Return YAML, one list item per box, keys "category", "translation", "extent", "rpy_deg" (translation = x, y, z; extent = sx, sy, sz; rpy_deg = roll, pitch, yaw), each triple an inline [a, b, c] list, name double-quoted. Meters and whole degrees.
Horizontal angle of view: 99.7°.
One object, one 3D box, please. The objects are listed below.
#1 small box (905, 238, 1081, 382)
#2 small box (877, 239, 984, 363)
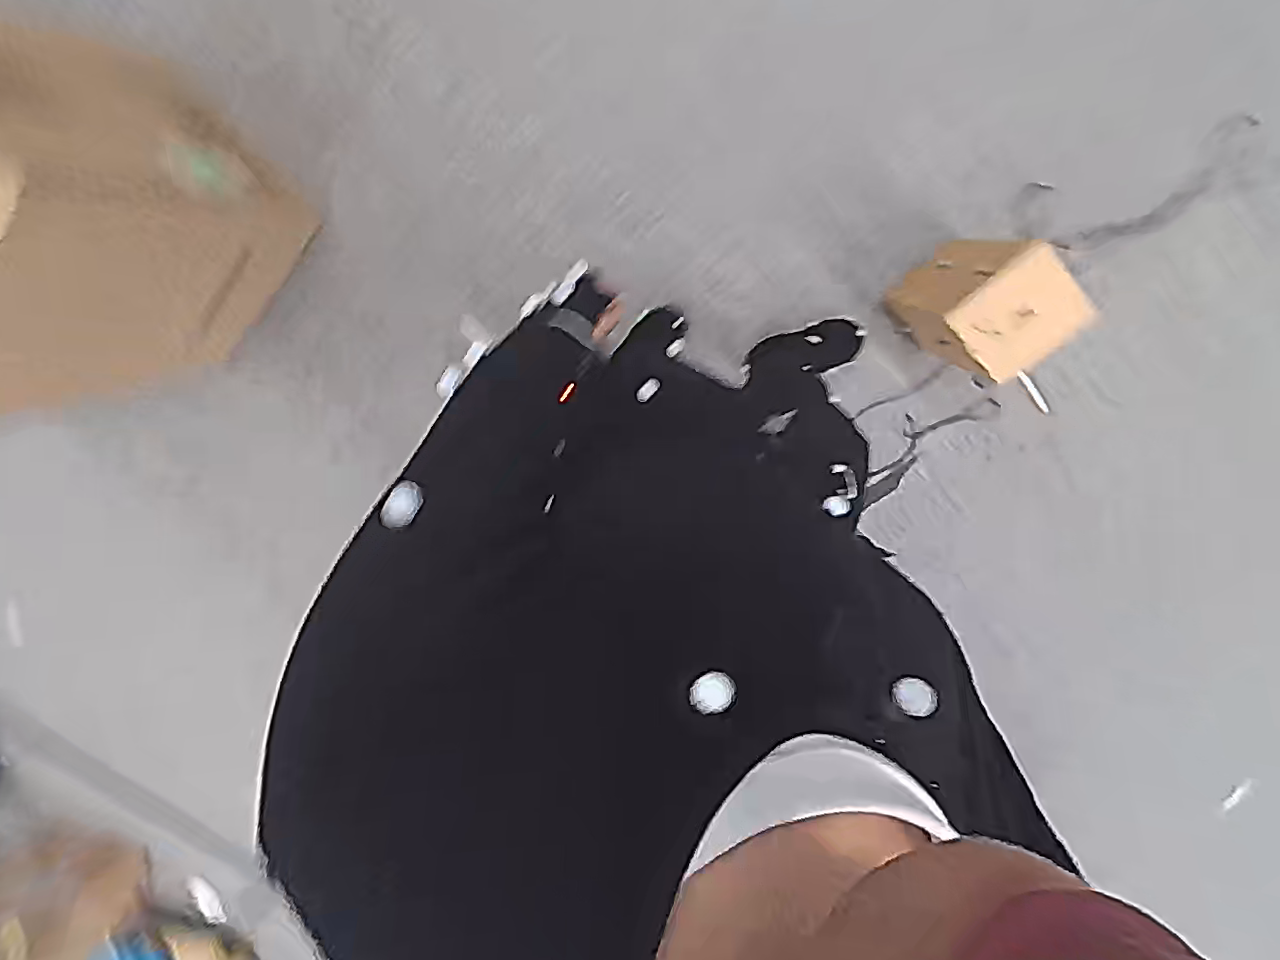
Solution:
- category: "small box"
  translation: [0.622, -0.311, 0.977]
  extent: [0.168, 0.176, 0.179]
  rpy_deg: [43, 110, -13]
- category: "small box"
  translation: [0.633, -0.377, 1.127]
  extent: [0.179, 0.176, 0.168]
  rpy_deg: [-40, 105, 20]
